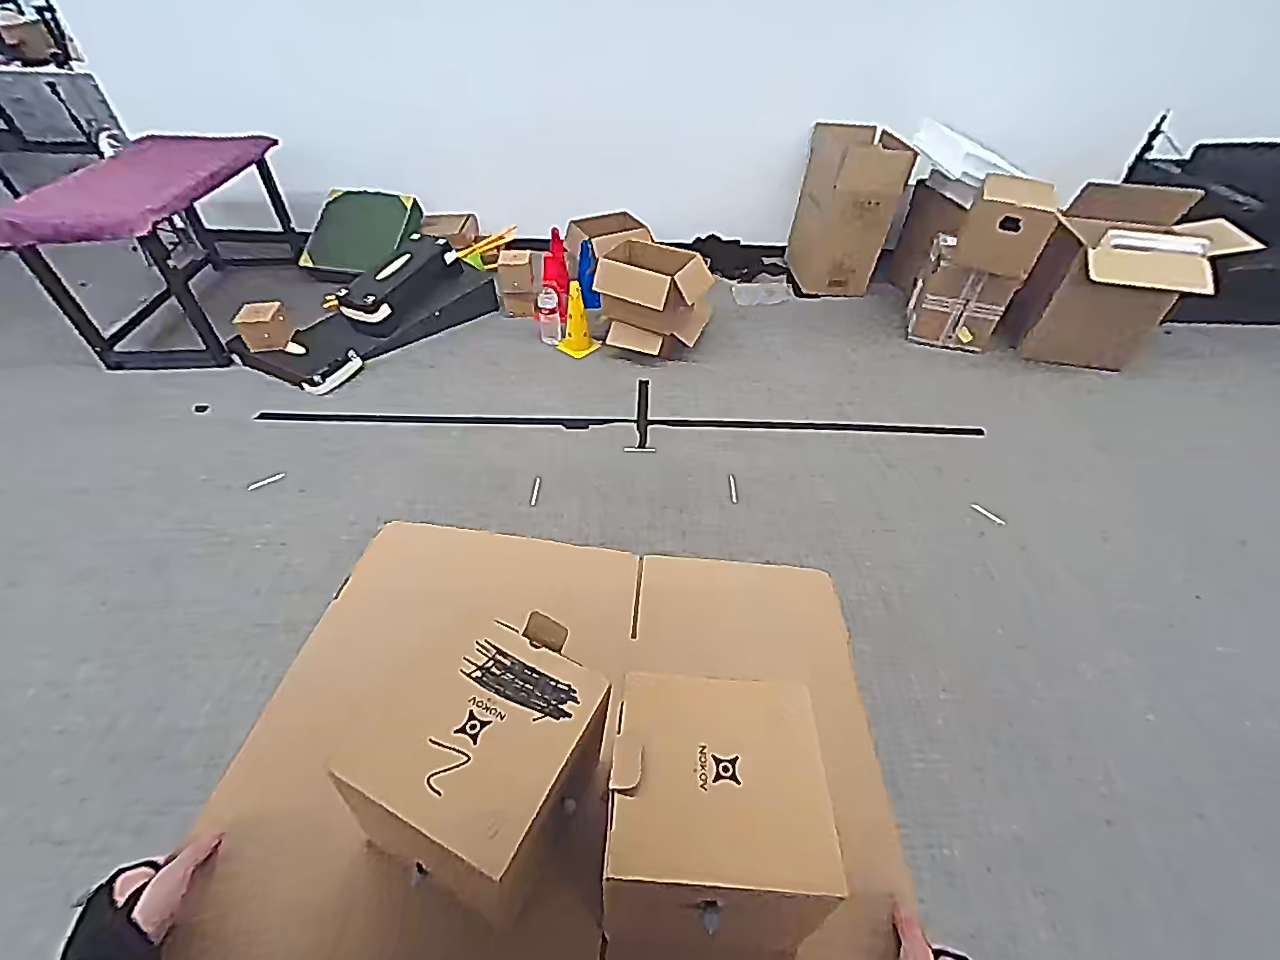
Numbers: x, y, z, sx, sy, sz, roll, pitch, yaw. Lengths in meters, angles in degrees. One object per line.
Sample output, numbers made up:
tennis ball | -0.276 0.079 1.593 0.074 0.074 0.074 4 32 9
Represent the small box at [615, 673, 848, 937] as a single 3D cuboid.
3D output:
small box | 0.070 0.307 0.512 0.179 0.176 0.168 3 39 2
